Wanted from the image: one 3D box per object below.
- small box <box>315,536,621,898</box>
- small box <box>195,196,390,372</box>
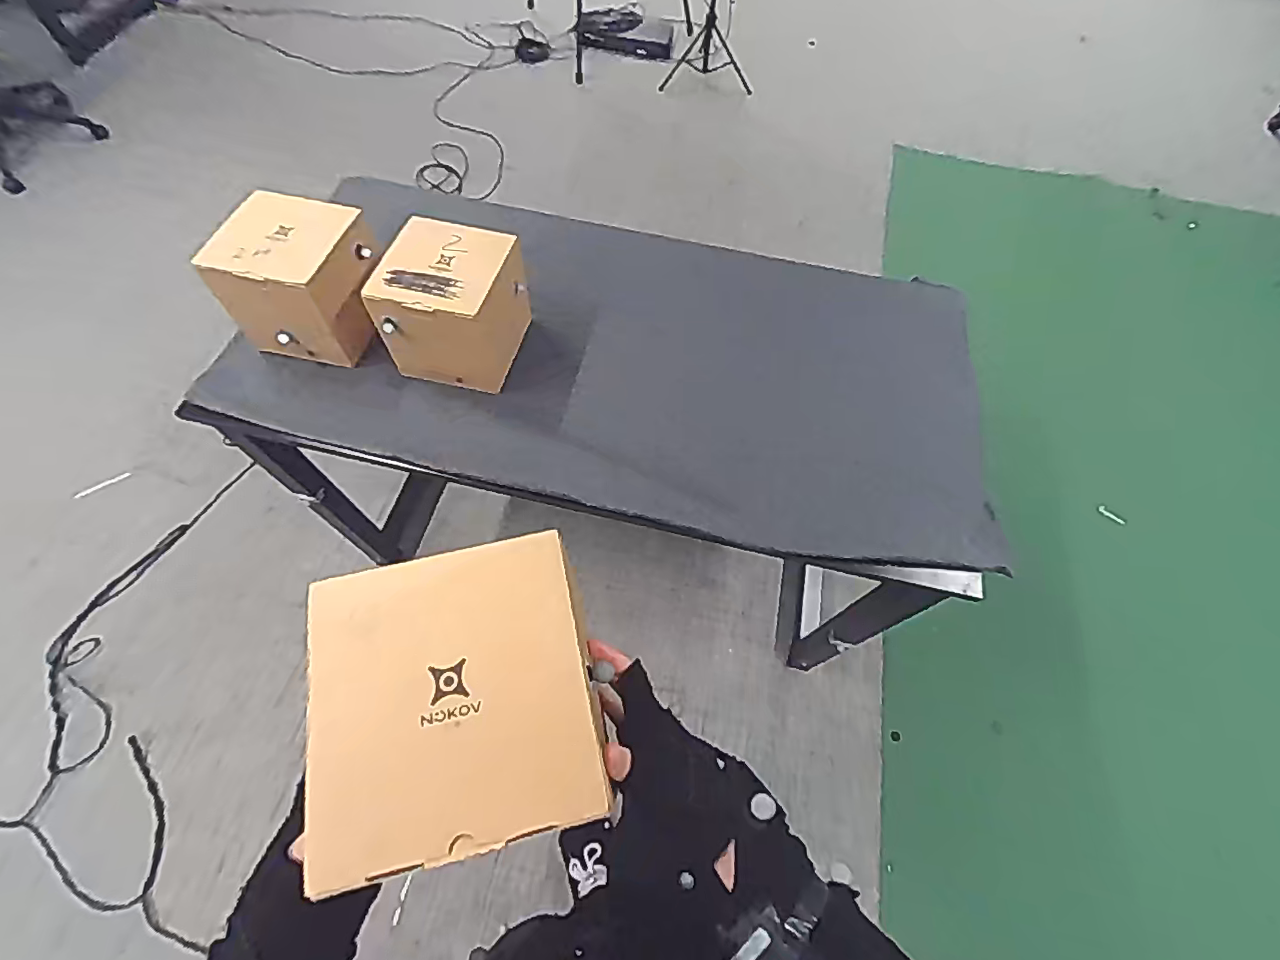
[{"bbox_3d":[-0.114,0.163,0.400,0.168,0.176,0.179,-12,67,-8],"label":"small box"},{"bbox_3d":[-0.515,-0.299,0.839,0.168,0.176,0.179,11,60,2],"label":"small box"}]
